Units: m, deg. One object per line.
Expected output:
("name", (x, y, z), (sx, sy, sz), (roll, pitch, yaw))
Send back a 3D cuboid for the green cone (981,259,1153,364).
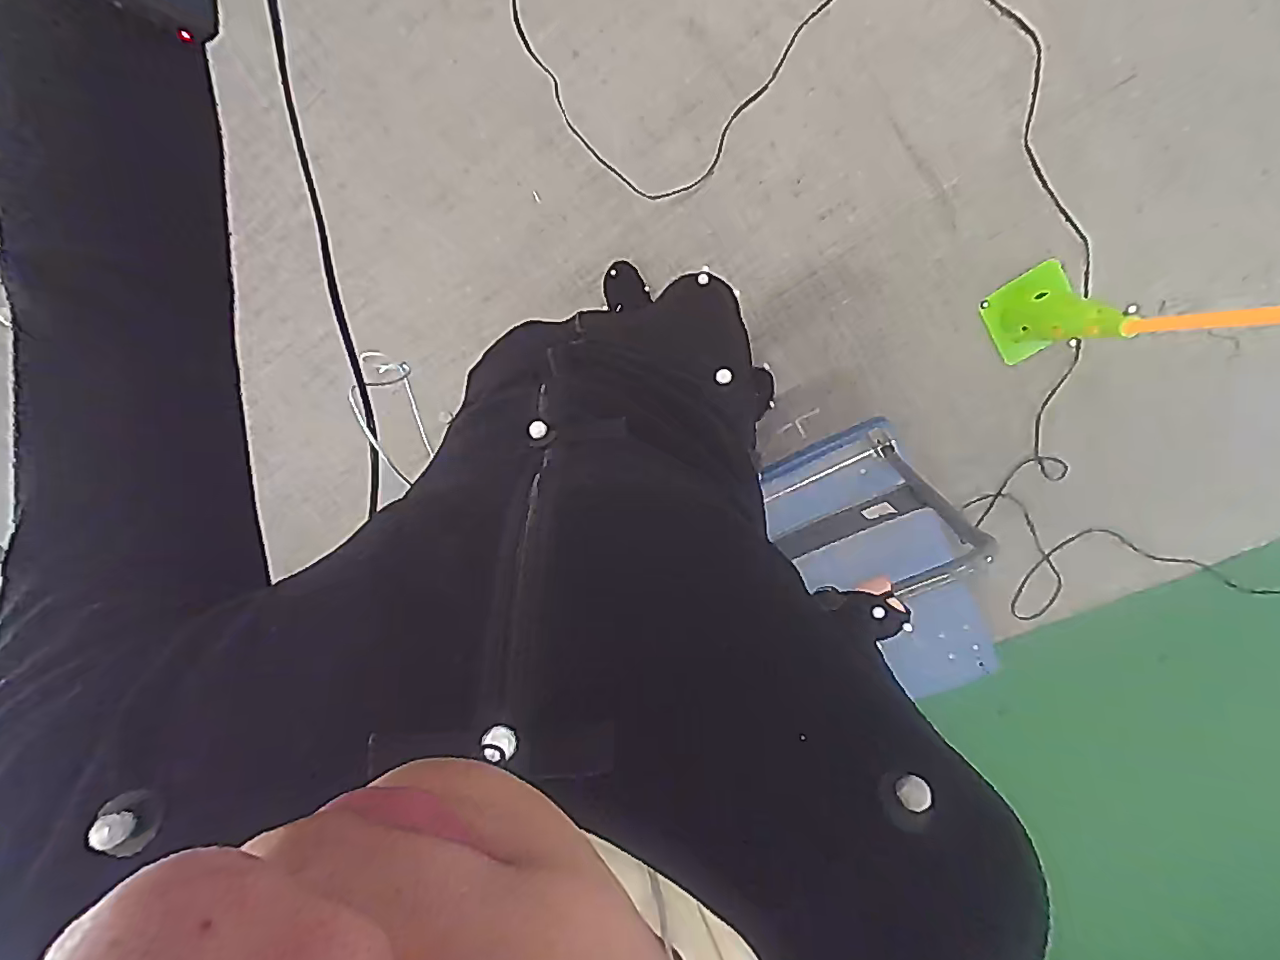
("green cone", (0.978, -0.360, 1.208), (0.202, 0.368, 0.200), (-33, 105, 16))
